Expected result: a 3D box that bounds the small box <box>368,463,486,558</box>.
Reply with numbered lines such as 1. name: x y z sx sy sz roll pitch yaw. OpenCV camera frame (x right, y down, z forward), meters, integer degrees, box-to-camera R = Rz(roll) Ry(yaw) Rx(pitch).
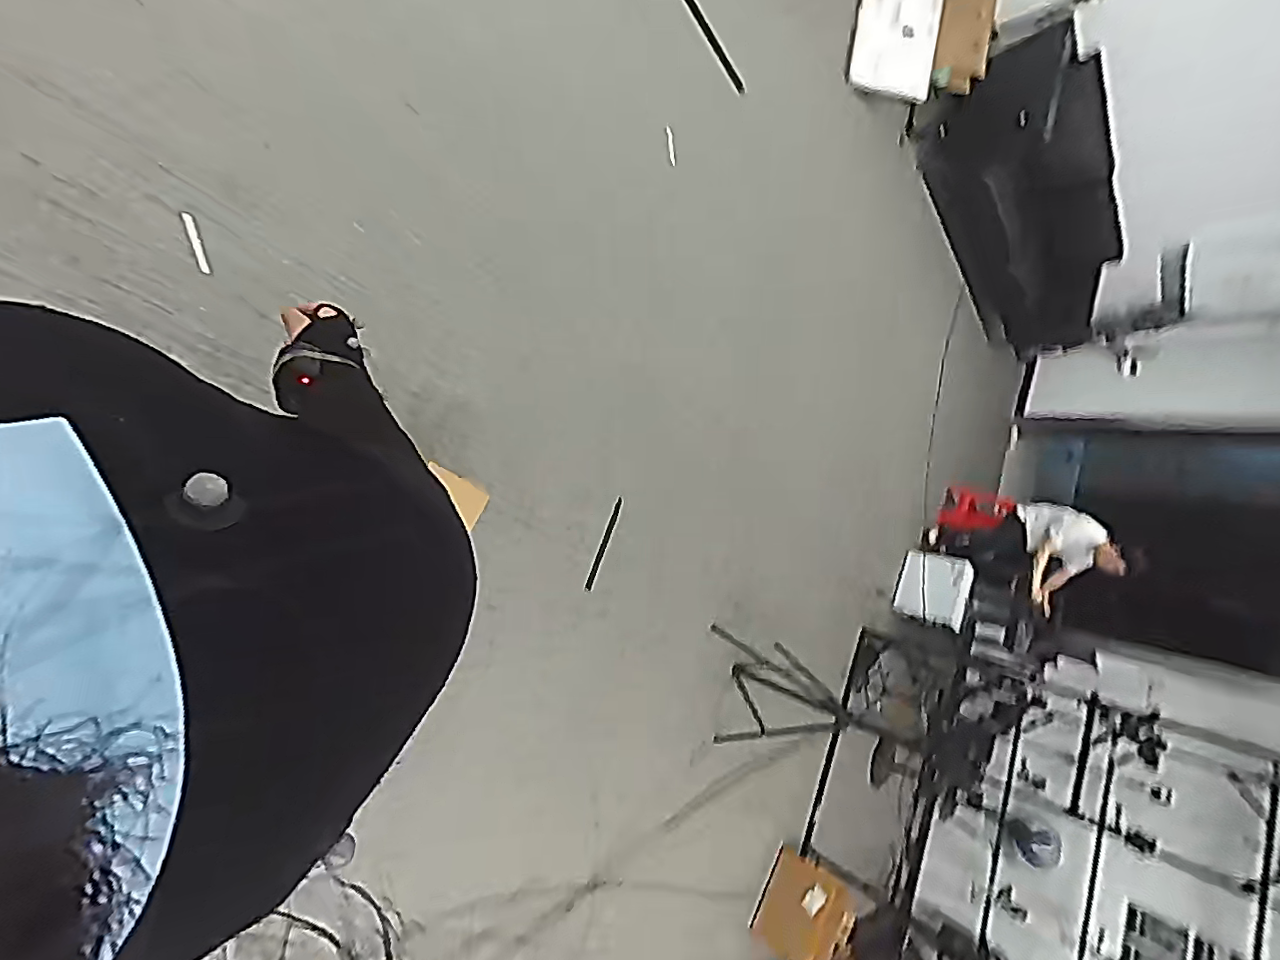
1. small box: -0.513 0.067 1.299 0.179 0.176 0.168 38 69 -39
